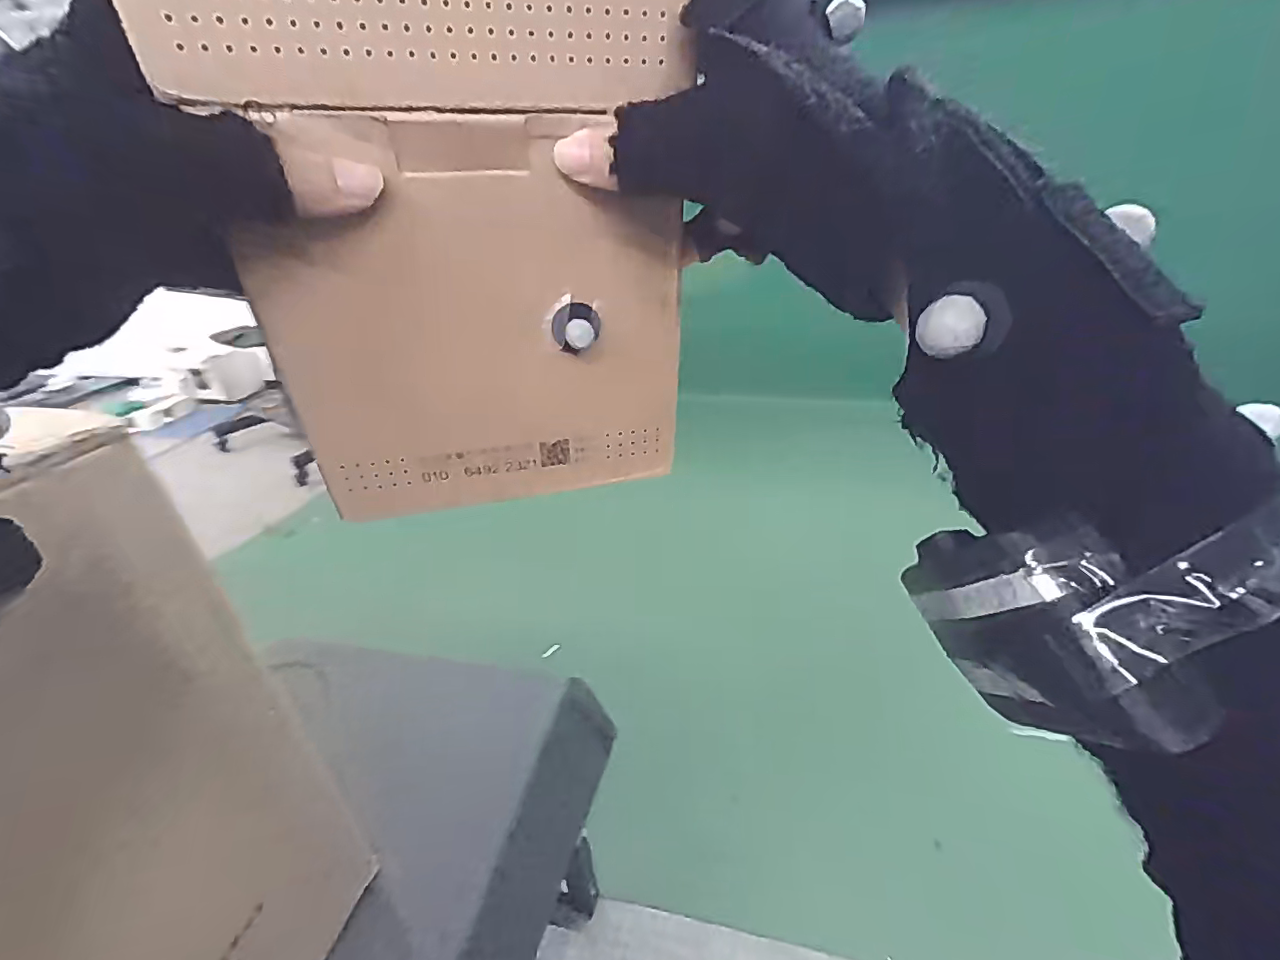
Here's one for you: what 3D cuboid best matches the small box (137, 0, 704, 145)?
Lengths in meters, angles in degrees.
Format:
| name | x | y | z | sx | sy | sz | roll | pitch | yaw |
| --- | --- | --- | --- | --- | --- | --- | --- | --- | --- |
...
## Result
| name | x | y | z | sx | sy | sz | roll | pitch | yaw |
| --- | --- | --- | --- | --- | --- | --- | --- | --- | --- |
| small box | -0.075 | -0.226 | 0.199 | 0.179 | 0.176 | 0.168 | -8 | 38 | -15 |

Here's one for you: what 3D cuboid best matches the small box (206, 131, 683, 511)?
| name | x | y | z | sx | sy | sz | roll | pitch | yaw |
| --- | --- | --- | --- | --- | --- | --- | --- | --- | --- |
| small box | -0.080 | -0.096 | 0.299 | 0.168 | 0.176 | 0.179 | -7 | 36 | -12 |
